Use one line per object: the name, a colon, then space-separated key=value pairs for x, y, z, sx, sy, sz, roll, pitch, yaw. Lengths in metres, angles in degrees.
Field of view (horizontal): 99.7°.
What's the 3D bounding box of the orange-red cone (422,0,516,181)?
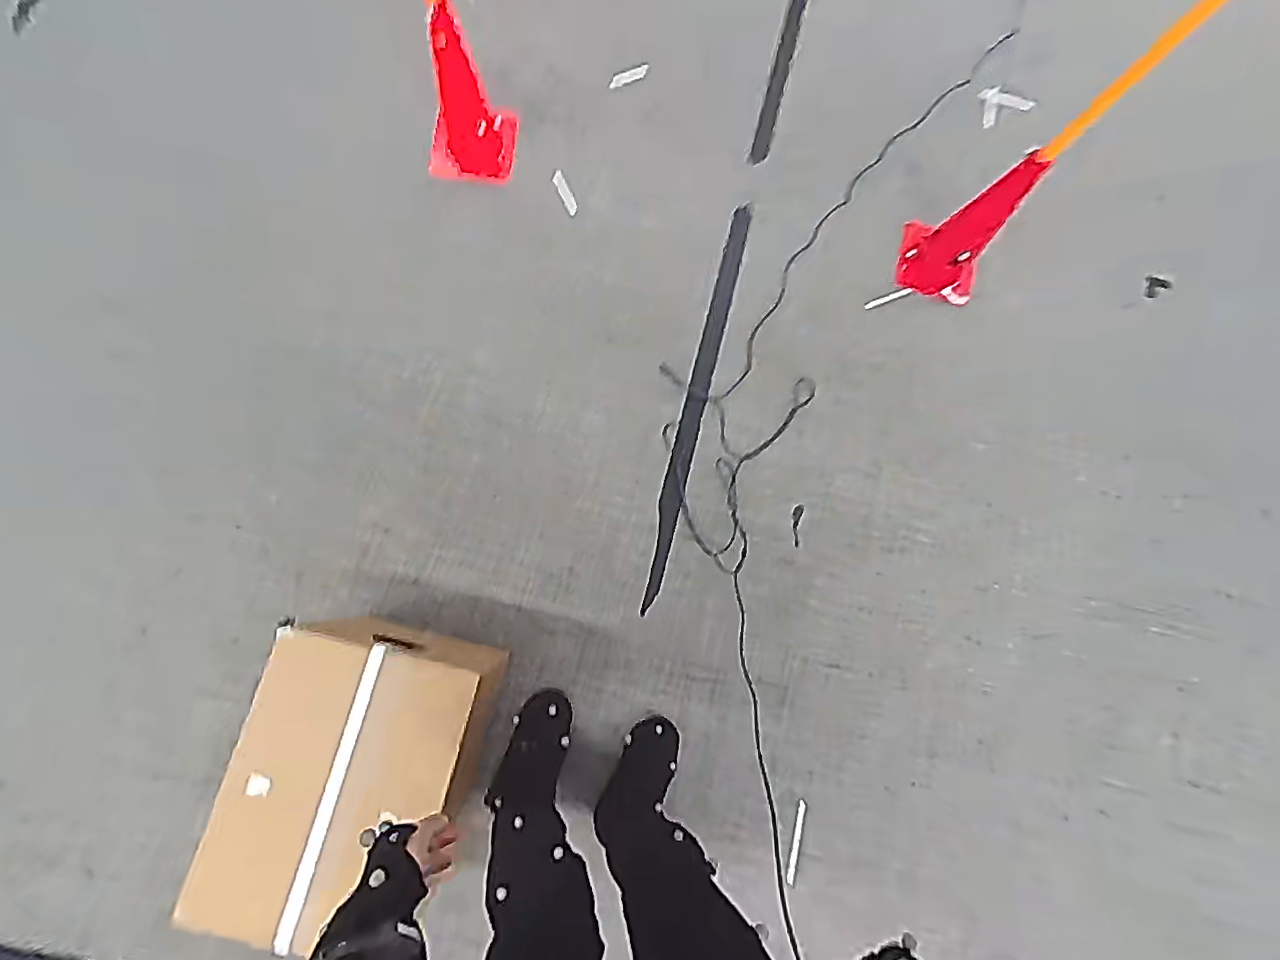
orange-red cone: x=-0.406 y=-0.869 z=1.175 sx=0.199 sy=0.360 sz=0.198 roll=6 pitch=77 yaw=-2
